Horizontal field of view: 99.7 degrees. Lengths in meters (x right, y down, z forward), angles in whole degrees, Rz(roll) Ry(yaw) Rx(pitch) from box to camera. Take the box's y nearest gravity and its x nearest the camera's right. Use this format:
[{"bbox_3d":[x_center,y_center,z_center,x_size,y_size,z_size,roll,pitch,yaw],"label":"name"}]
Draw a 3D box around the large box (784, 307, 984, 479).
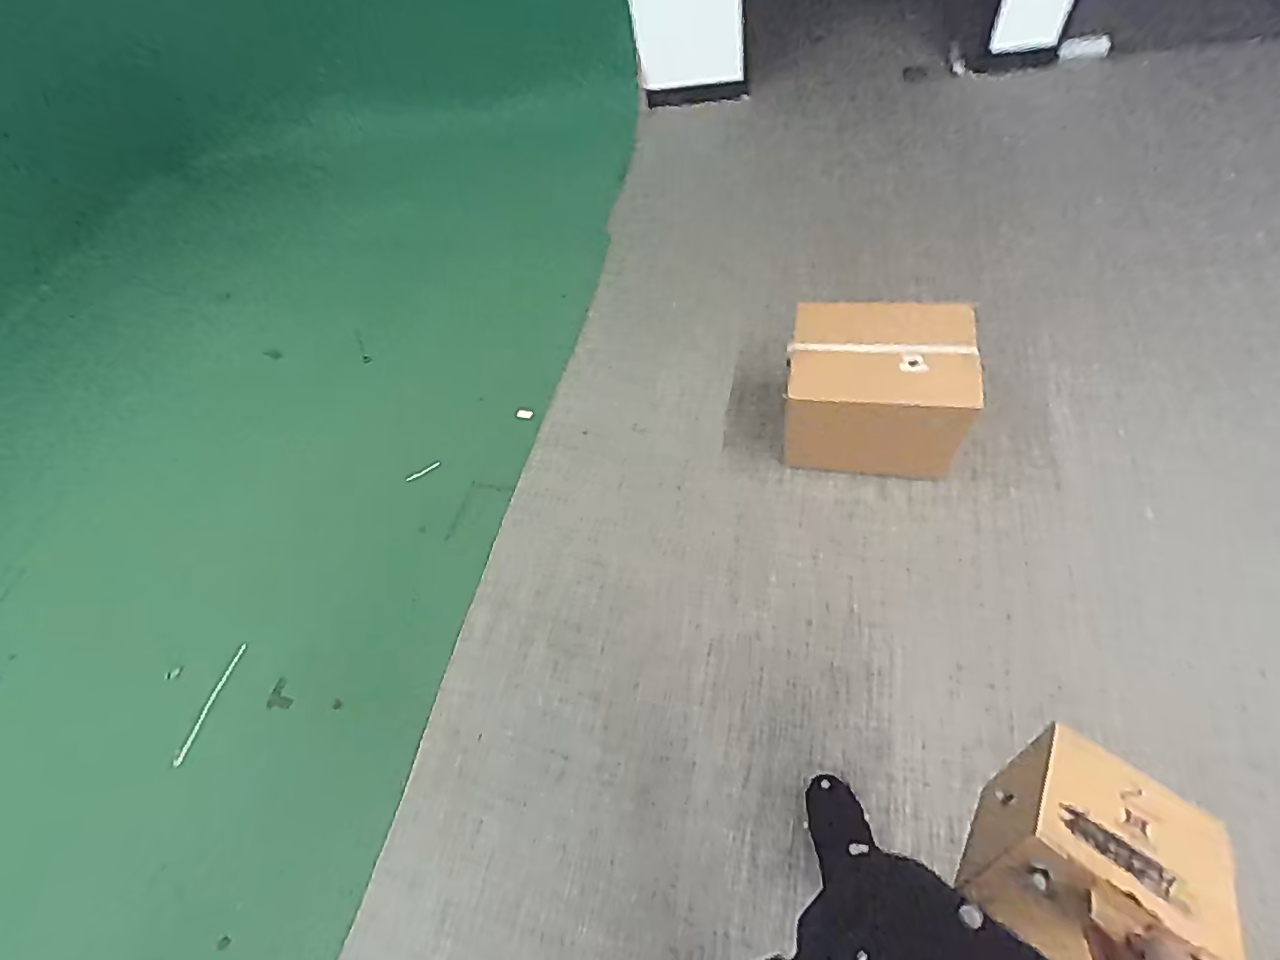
[{"bbox_3d":[0.588,-0.219,1.381,0.408,0.320,0.320,6,62,15],"label":"large box"}]
